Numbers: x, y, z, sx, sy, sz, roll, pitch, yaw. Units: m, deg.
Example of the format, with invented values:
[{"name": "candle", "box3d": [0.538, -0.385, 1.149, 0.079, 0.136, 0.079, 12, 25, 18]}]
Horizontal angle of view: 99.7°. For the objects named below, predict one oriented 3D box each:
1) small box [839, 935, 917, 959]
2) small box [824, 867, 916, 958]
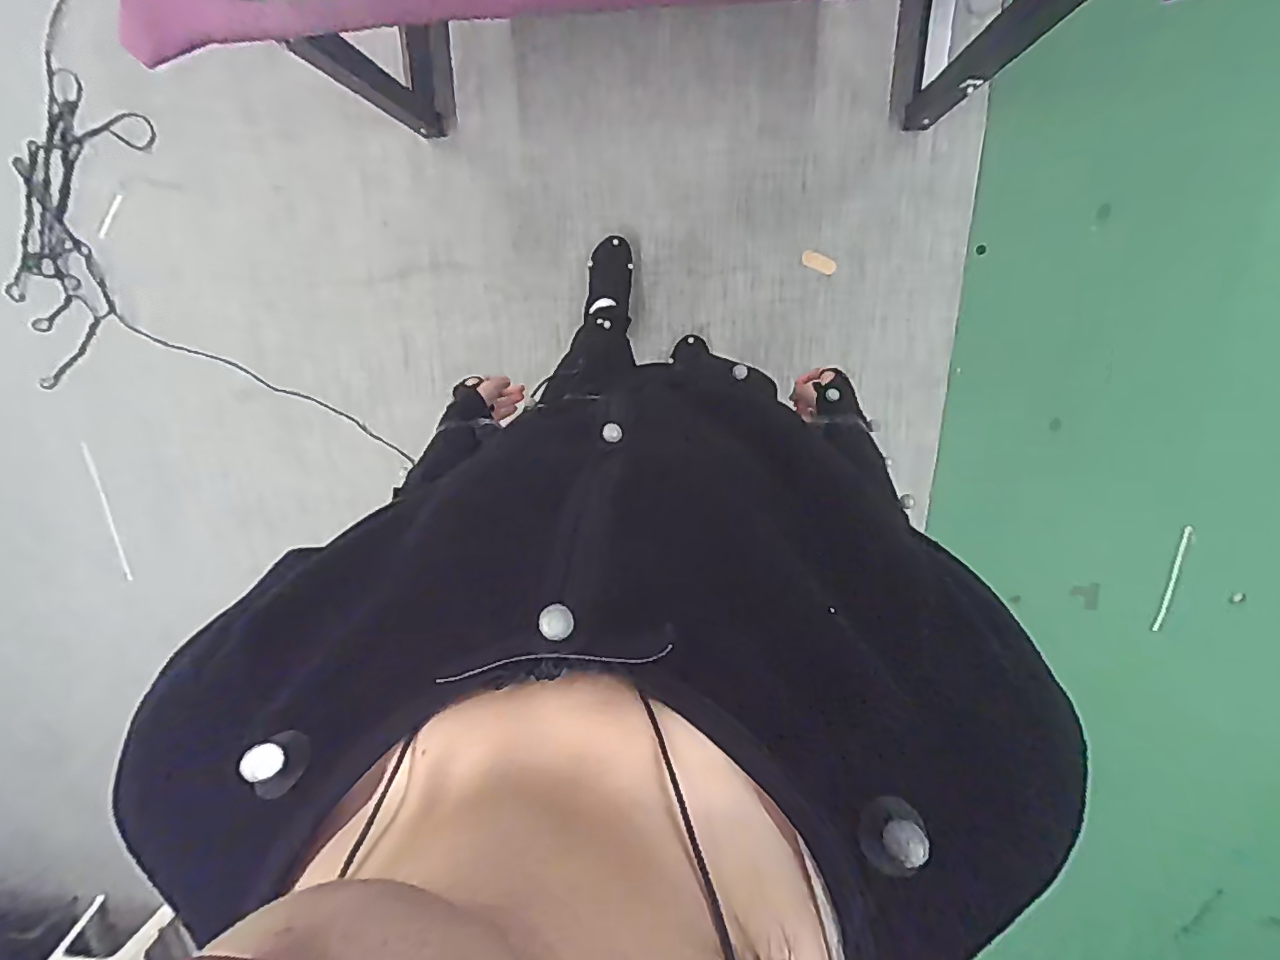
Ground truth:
[{"name": "small box", "box3d": [0.565, 1.189, 1.241, 0.168, 0.176, 0.179, -8, 104, 8]}, {"name": "small box", "box3d": [0.591, 1.138, 1.394, 0.179, 0.176, 0.168, -10, 104, 9]}]
